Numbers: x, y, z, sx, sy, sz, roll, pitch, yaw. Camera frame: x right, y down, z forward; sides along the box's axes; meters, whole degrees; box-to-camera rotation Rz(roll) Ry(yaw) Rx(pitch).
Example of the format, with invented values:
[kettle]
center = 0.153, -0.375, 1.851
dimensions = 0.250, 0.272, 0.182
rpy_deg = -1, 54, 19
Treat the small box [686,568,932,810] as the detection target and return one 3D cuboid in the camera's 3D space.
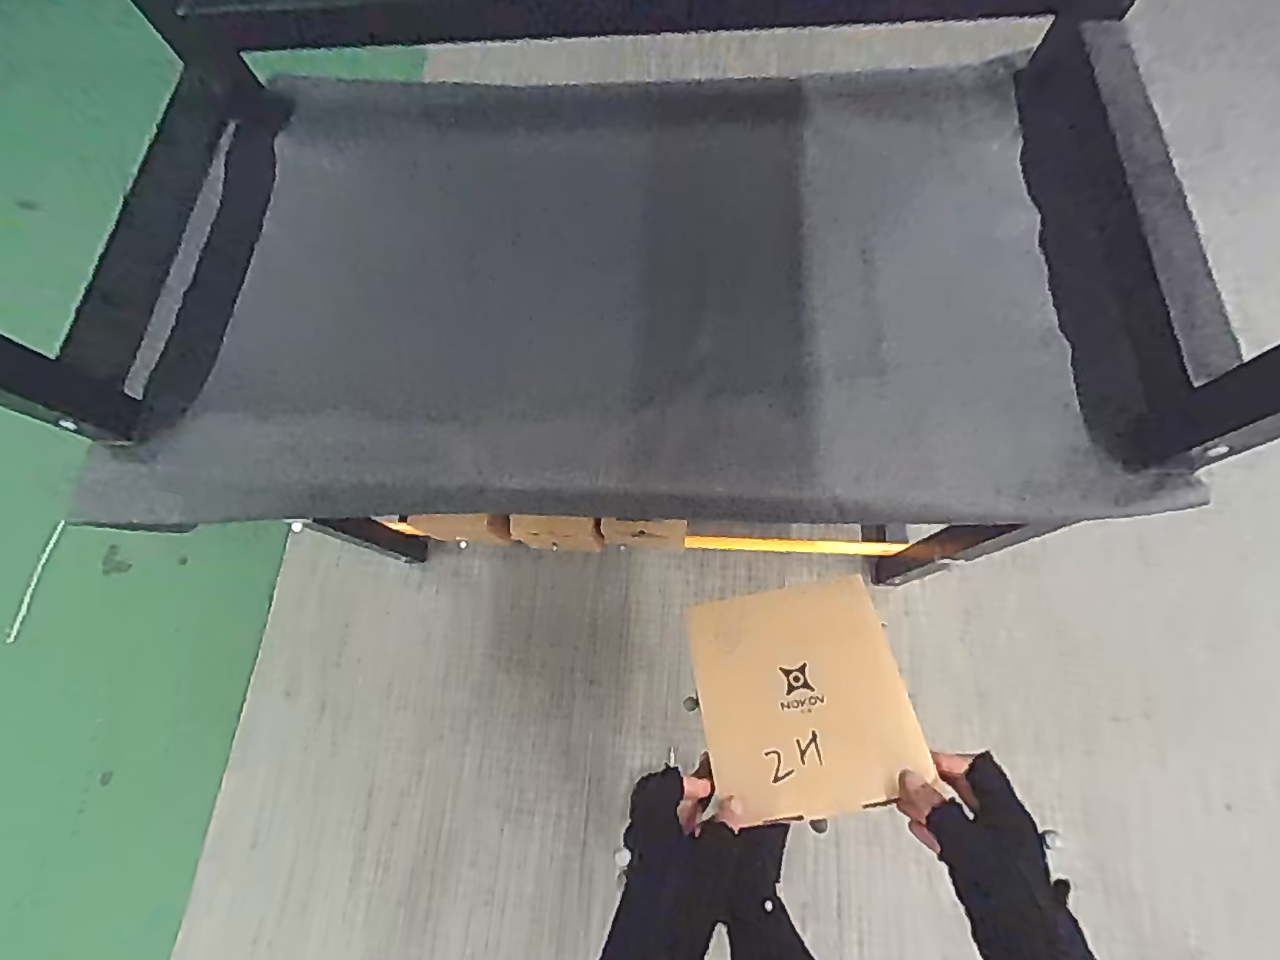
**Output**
[small box]
center = 0.144, 0.207, 0.526
dimensions = 0.168, 0.176, 0.179
rpy_deg = -12, 60, 5
